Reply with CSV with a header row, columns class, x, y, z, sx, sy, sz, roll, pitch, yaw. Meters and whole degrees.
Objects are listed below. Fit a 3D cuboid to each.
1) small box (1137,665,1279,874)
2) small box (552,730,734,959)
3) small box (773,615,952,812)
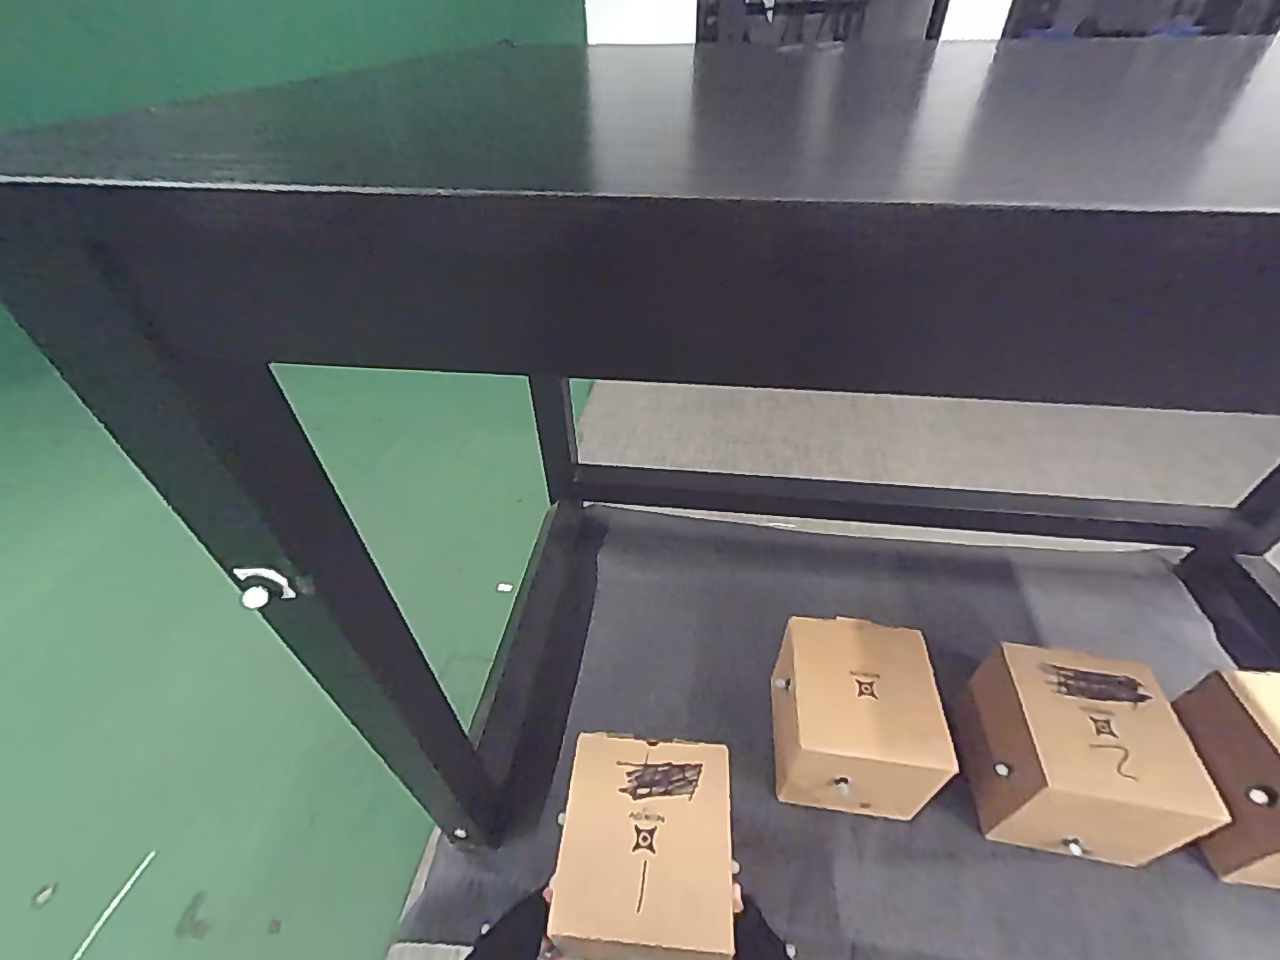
class,x,y,z,sx,sy,sz,roll,pitch,yaw
small box,0.754,0.344,0.629,0.168,0.176,0.179,4,41,6
small box,0.009,0.401,0.589,0.168,0.176,0.179,3,43,4
small box,0.268,0.302,0.698,0.168,0.176,0.179,4,41,6
